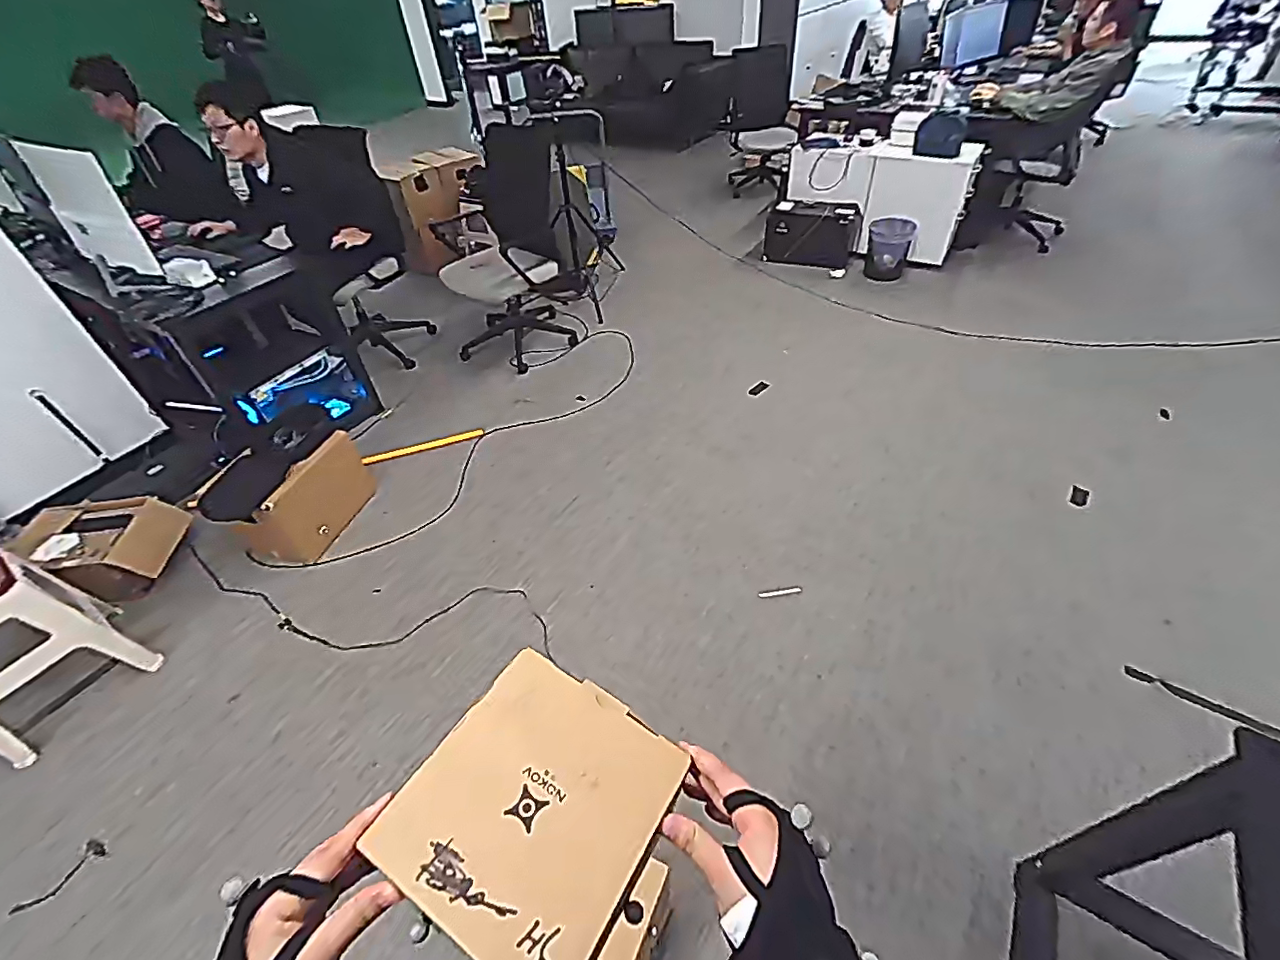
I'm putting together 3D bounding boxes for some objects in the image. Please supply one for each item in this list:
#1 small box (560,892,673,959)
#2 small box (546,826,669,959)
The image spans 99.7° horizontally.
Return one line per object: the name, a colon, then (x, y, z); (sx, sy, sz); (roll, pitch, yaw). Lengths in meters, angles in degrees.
small box: (-0.041, 0.920, 1.118); (0.168, 0.176, 0.179); (19, 49, 23)
small box: (-0.050, 0.799, 1.011); (0.168, 0.176, 0.179); (16, 46, 20)
